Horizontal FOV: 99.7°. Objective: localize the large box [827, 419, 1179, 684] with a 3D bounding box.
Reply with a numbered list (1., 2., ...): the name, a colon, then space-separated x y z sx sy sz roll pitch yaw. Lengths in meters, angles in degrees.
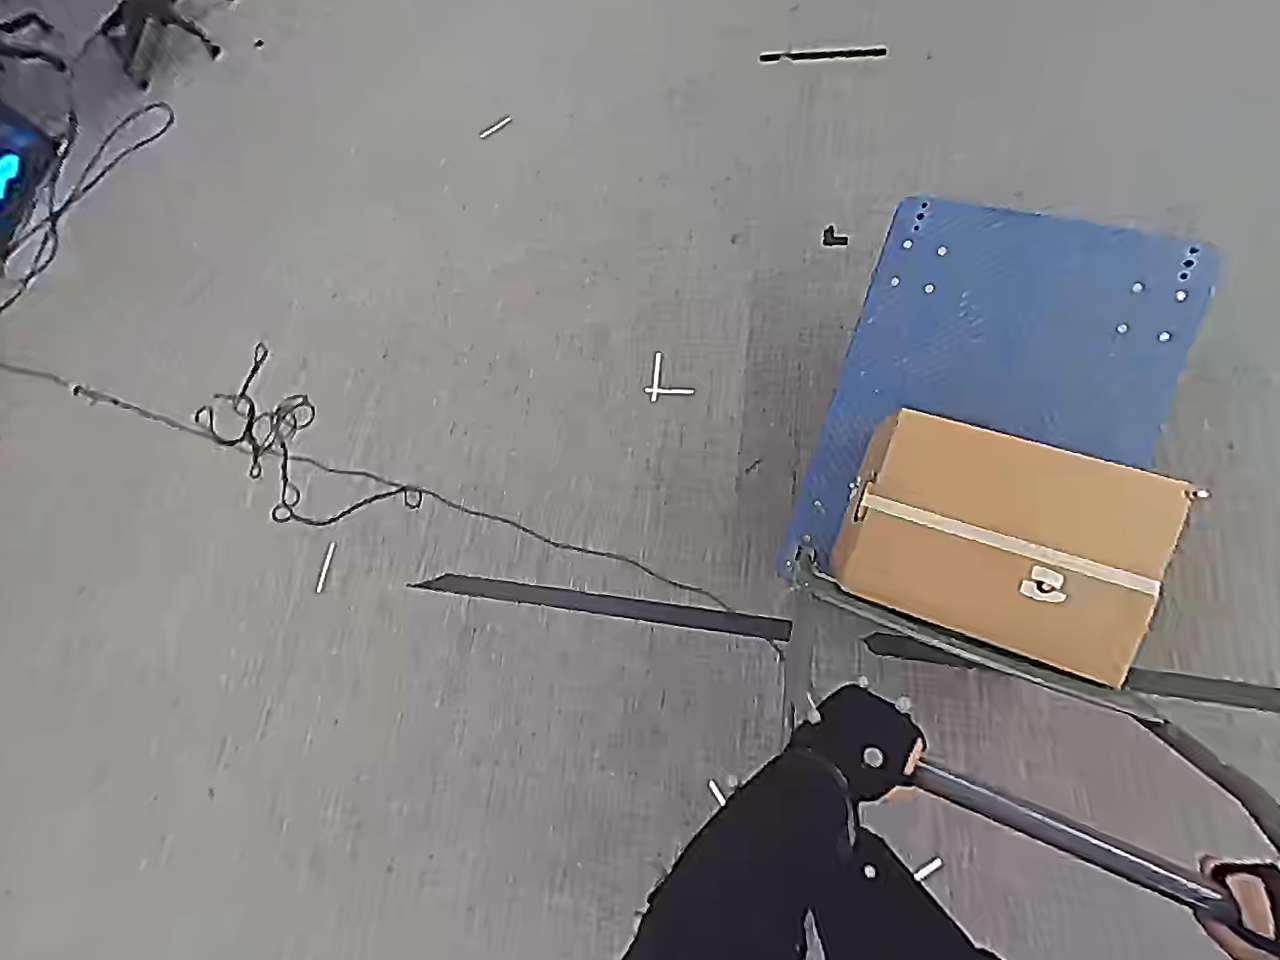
1. large box: 0.593 0.105 0.983 0.408 0.320 0.320 19 95 15
